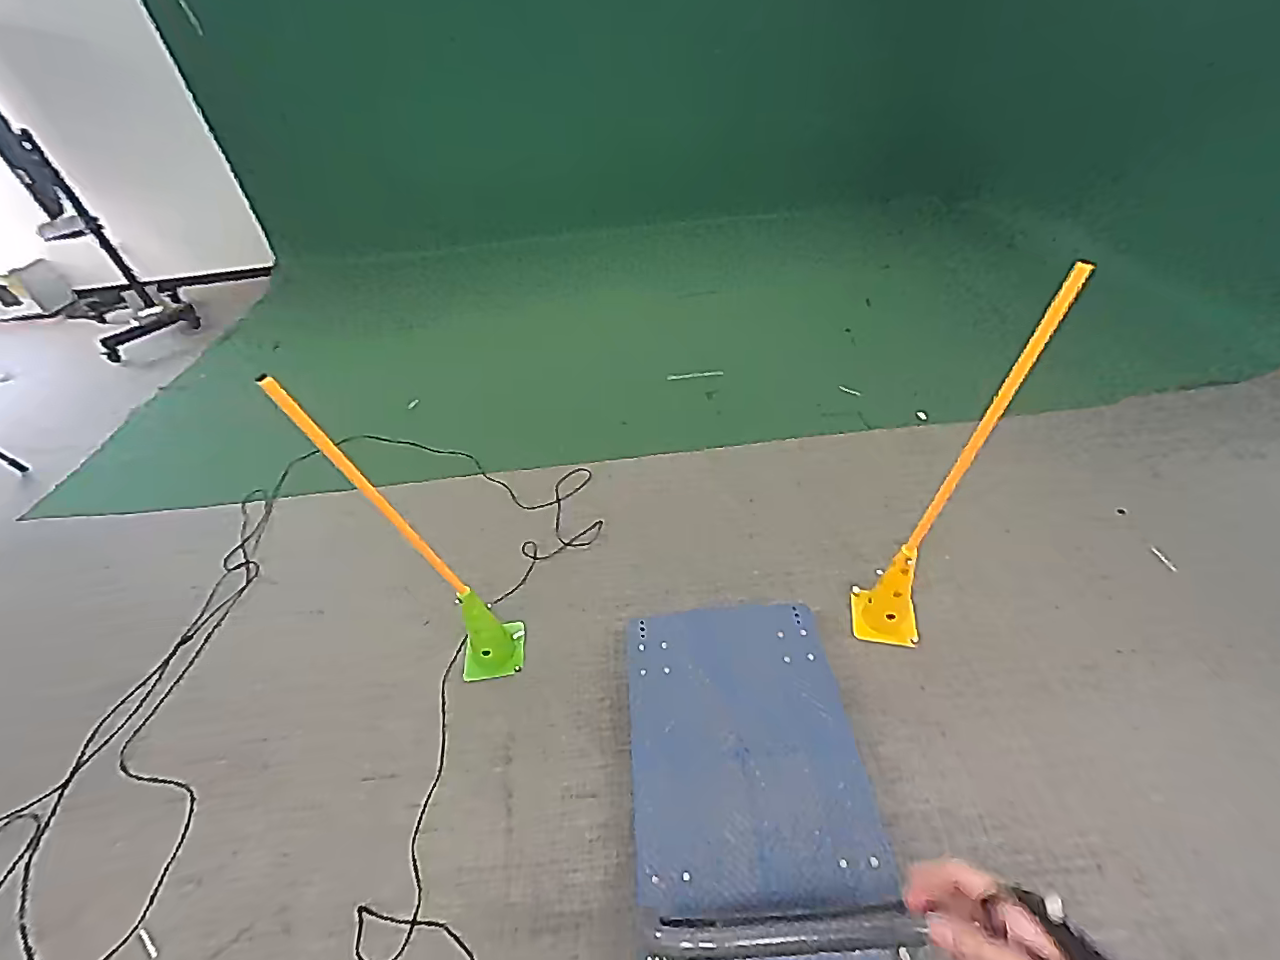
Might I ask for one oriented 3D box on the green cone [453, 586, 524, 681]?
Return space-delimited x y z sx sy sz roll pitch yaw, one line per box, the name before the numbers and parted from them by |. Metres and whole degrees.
green cone | -0.518 0.459 1.744 0.202 0.368 0.200 -10 42 -1
